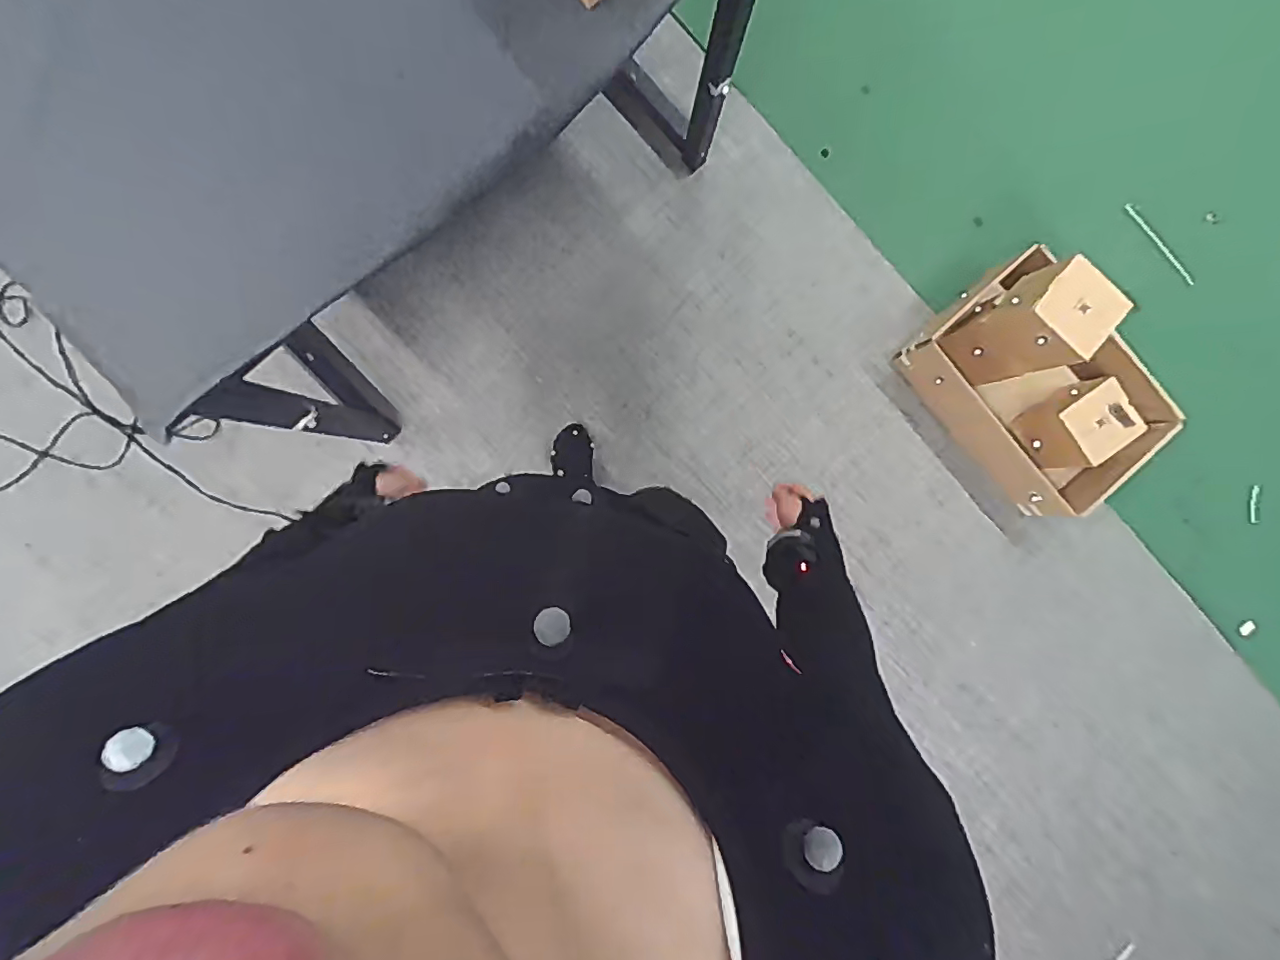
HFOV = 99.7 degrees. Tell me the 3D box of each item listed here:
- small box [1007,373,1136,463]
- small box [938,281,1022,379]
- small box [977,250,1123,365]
[{"bbox_3d":[1.144,-0.161,1.447,0.179,0.176,0.168,-35,92,-2],"label":"small box"},{"bbox_3d":[0.936,-0.391,1.428,0.168,0.176,0.179,-40,93,-2],"label":"small box"},{"bbox_3d":[0.945,-0.391,1.264,0.179,0.176,0.168,40,89,-6],"label":"small box"}]
